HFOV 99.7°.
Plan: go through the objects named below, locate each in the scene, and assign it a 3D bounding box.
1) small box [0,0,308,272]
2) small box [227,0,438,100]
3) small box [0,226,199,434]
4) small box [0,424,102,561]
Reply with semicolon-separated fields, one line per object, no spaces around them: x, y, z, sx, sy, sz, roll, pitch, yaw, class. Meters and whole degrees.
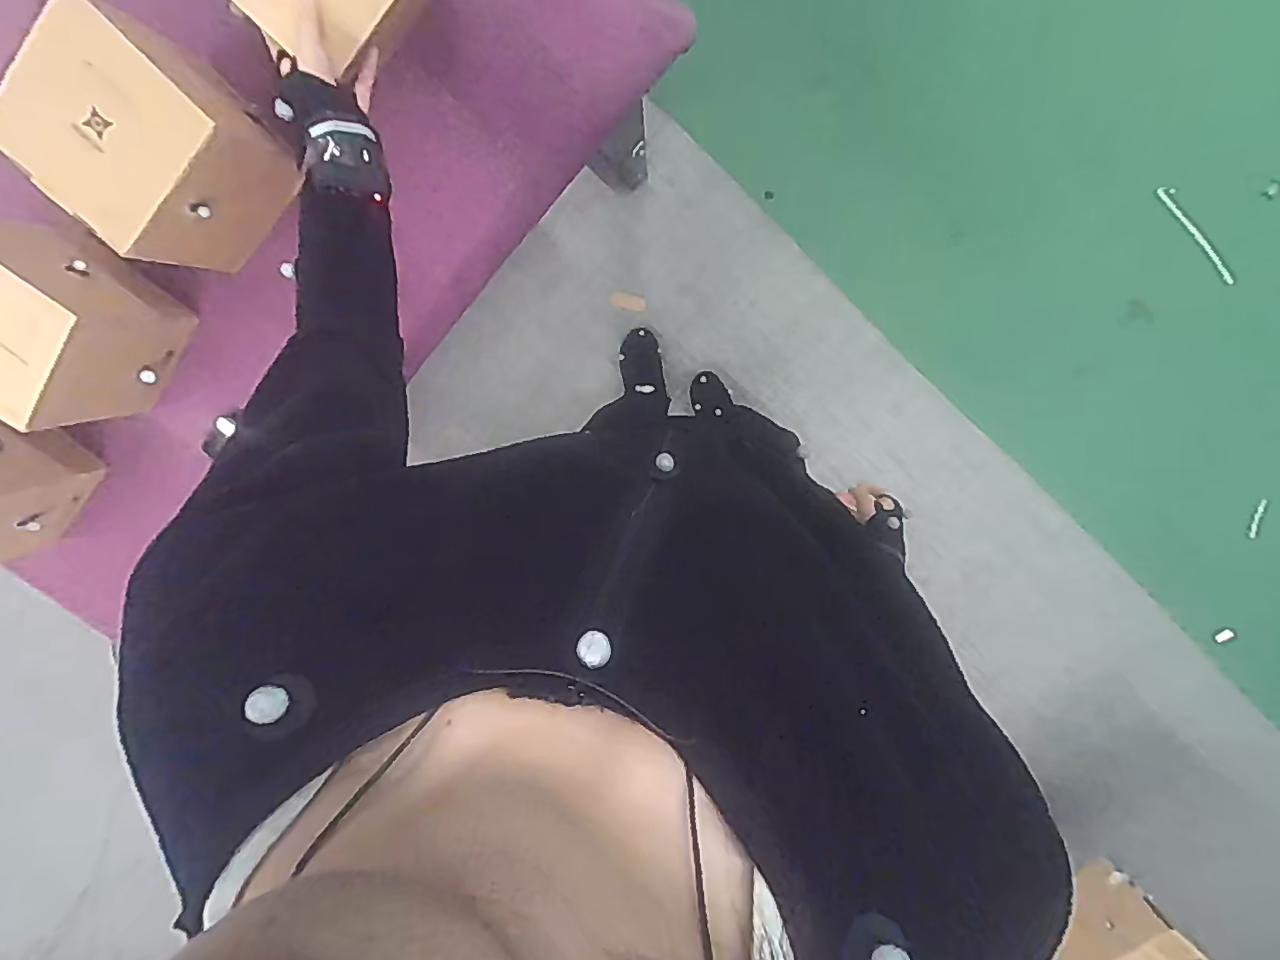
-0.523;-0.359;0.605;0.179;0.176;0.168;-43;101;11;small box
-0.313;-0.514;0.530;0.179;0.176;0.168;-45;122;12;small box
-0.707;-0.182;0.656;0.179;0.176;0.168;38;103;-9;small box
-0.890;0.006;0.712;0.179;0.176;0.168;43;102;-10;small box
